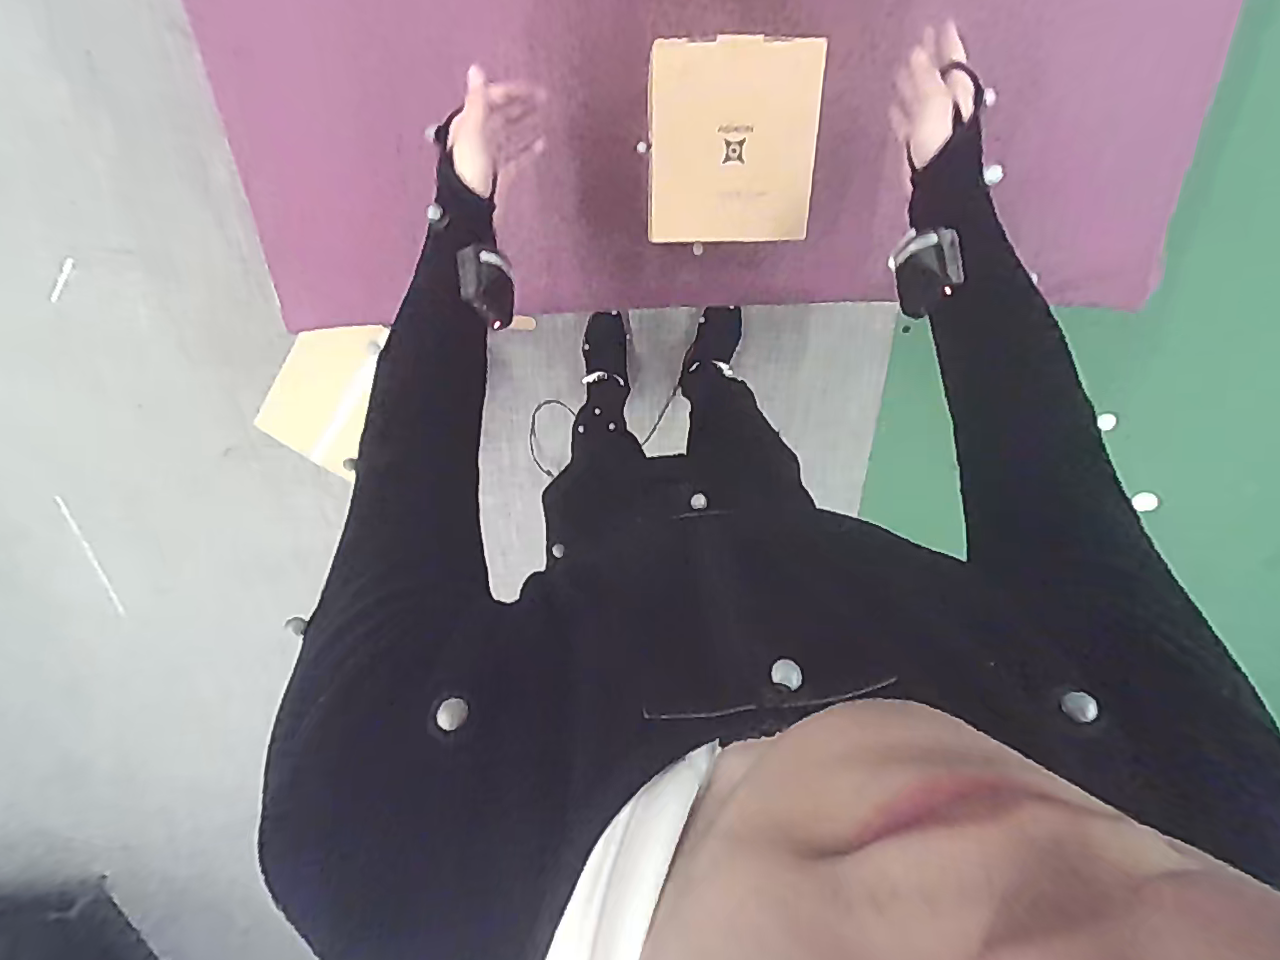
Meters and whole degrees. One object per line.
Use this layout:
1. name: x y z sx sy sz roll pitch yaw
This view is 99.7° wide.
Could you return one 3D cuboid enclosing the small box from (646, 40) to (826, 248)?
1. small box: 0.091 -0.358 0.605 0.168 0.176 0.179 0 115 0
